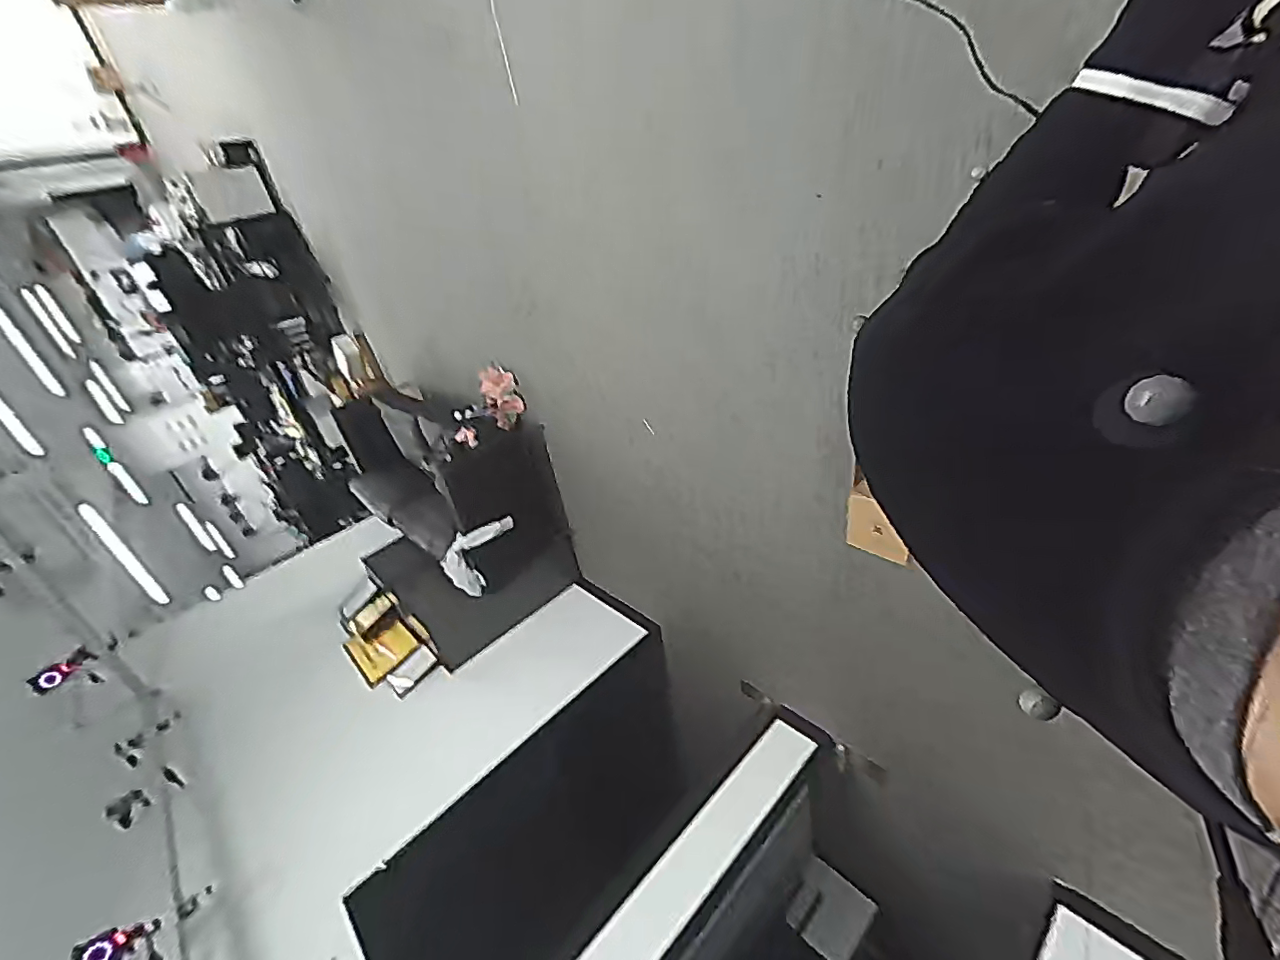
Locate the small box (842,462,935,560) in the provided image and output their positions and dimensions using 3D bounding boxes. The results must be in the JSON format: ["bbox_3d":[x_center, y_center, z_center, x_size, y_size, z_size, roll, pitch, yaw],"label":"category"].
[{"bbox_3d":[0.662,0.074,1.441,0.168,0.176,0.179,25,135,41],"label":"small box"}]
